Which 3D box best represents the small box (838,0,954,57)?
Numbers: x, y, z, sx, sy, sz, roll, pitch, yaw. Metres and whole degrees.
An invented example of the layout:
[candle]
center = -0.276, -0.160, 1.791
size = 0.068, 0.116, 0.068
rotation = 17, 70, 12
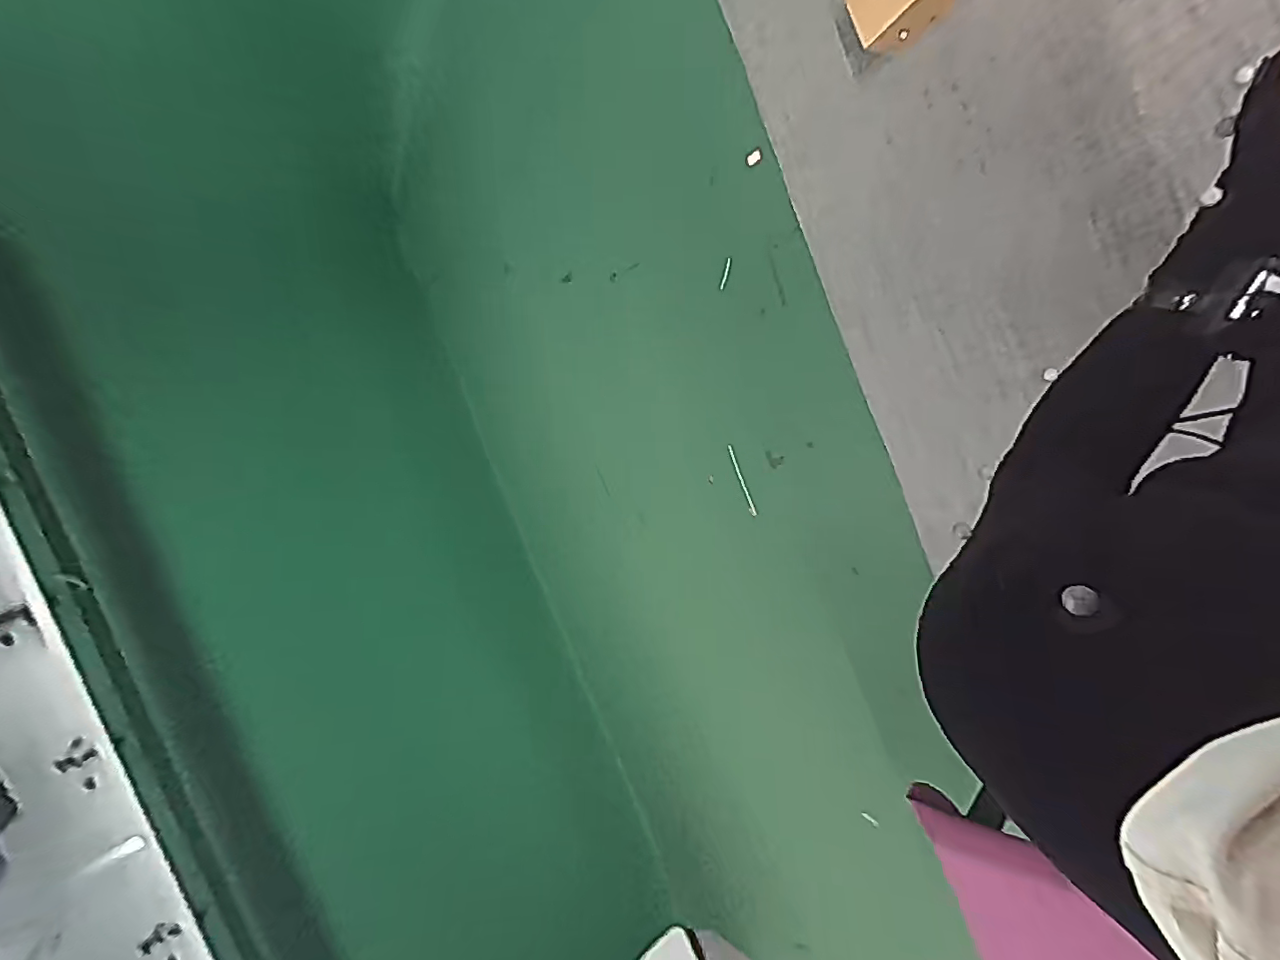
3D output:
[small box]
center = 0.587, -1.120, 1.245
size = 0.168, 0.176, 0.179
rotation = -21, 92, 55
